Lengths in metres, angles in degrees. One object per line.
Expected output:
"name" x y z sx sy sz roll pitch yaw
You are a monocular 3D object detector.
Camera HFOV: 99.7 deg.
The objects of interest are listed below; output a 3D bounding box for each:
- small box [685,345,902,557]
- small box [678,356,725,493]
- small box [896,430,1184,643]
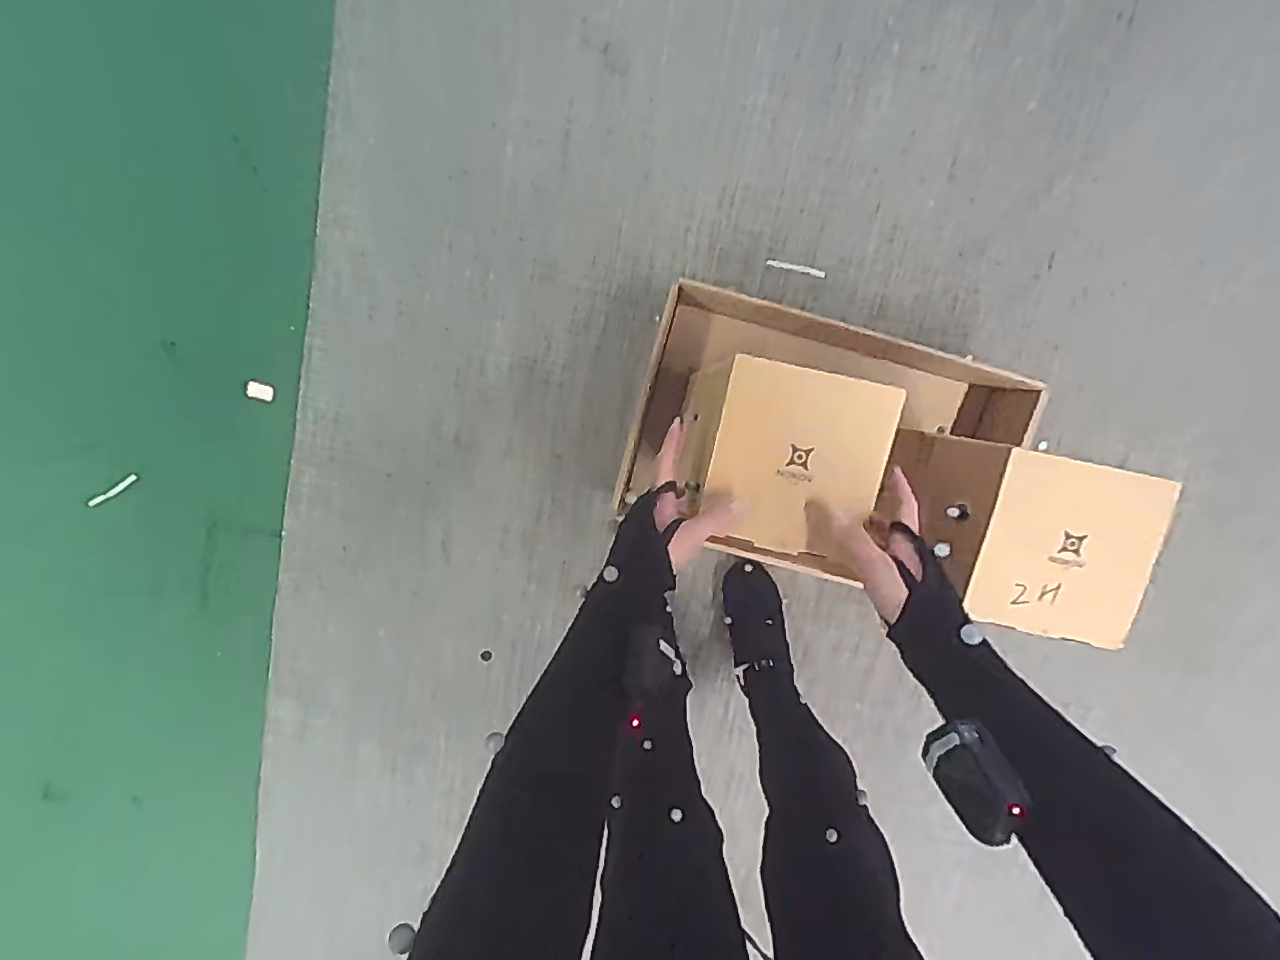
"small box" 0.148 -0.036 0.587 0.168 0.176 0.179 11 99 -1
"small box" 0.150 -0.060 0.746 0.168 0.176 0.179 13 98 0
"small box" 0.408 0.046 0.589 0.168 0.176 0.179 12 99 1
